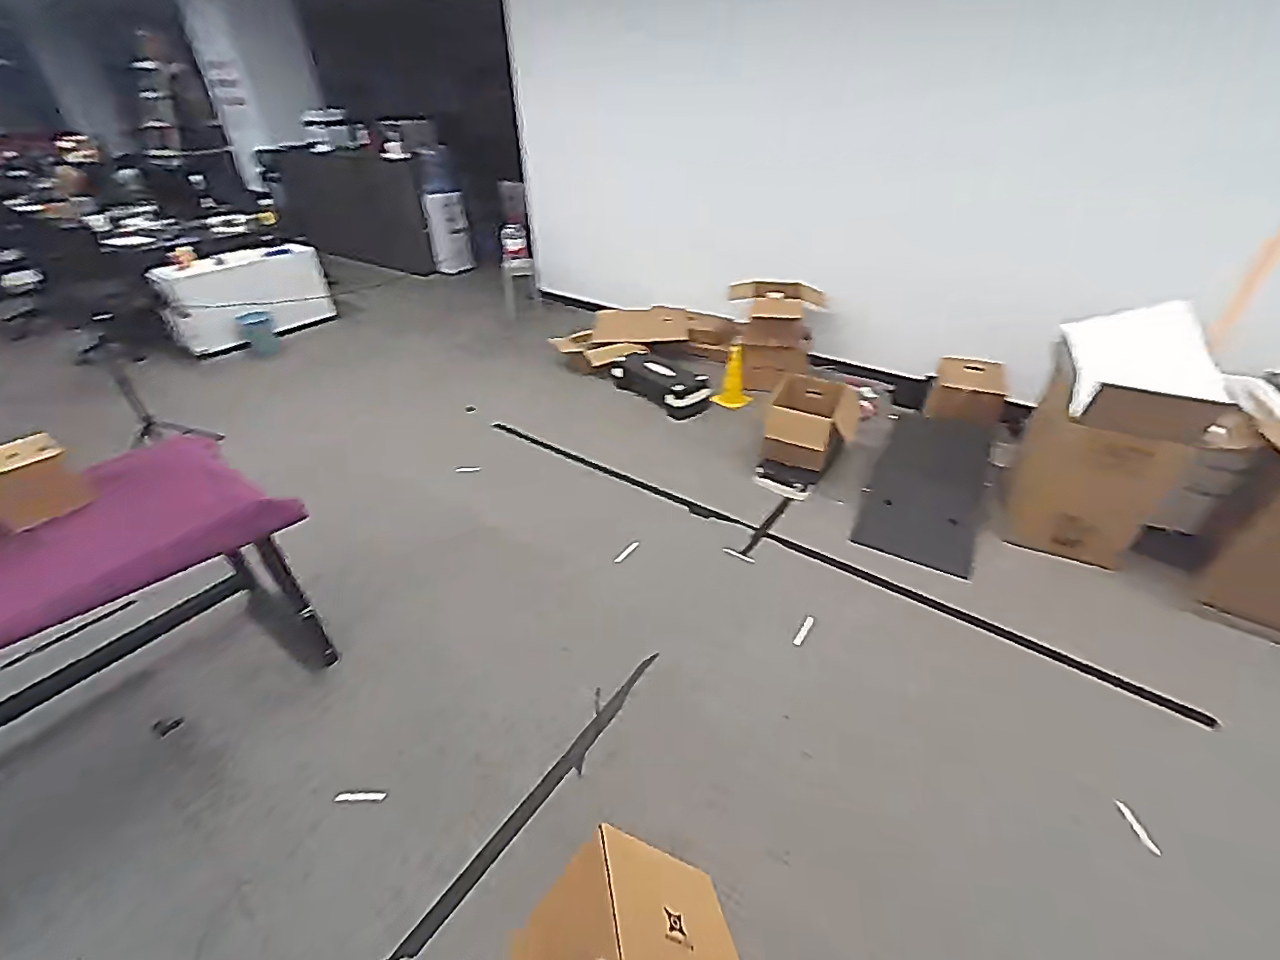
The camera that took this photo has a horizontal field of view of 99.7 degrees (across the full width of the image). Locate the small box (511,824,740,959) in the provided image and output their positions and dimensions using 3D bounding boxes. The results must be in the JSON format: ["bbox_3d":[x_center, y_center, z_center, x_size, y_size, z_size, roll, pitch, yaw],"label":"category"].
[{"bbox_3d":[-0.014,0.494,0.522,0.176,0.168,0.179,-51,18,3],"label":"small box"}]
